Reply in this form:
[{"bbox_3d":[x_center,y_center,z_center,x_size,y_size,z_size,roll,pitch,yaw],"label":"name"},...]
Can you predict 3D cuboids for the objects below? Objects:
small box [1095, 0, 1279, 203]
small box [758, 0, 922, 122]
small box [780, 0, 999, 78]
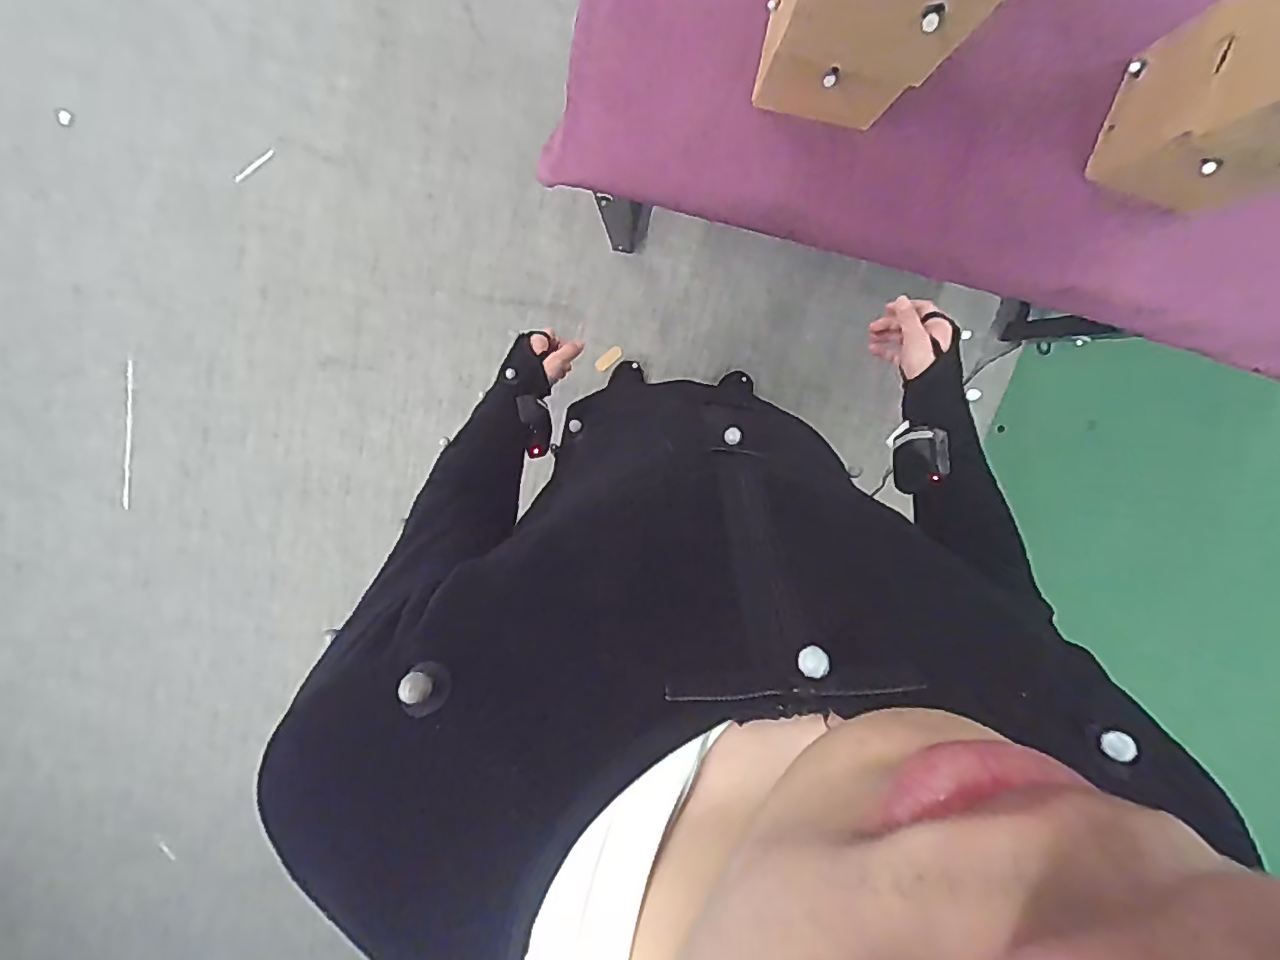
[{"bbox_3d":[0.752,-0.481,0.693,0.179,0.176,0.168,16,102,-1],"label":"small box"},{"bbox_3d":[0.266,-0.591,0.692,0.179,0.176,0.168,12,103,0],"label":"small box"},{"bbox_3d":[0.258,-0.540,0.535,0.179,0.176,0.168,13,102,0],"label":"small box"}]
